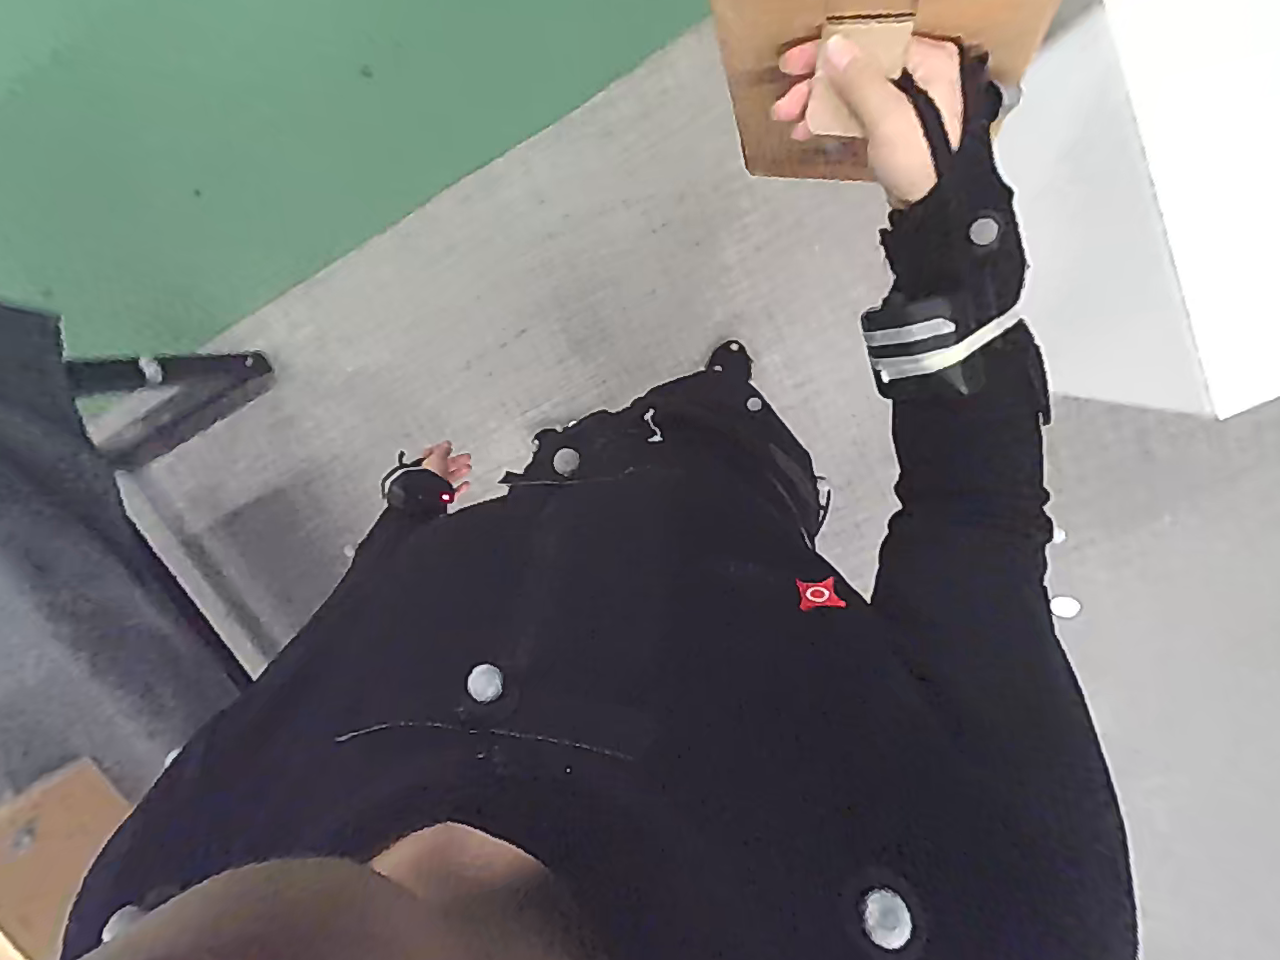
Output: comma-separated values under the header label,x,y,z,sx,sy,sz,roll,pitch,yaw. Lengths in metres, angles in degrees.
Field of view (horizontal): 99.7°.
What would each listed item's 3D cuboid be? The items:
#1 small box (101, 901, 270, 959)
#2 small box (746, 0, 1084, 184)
label,x,y,z,sx,sy,sz,roll,pitch,yaw
small box,-0.687,0.744,0.765,0.168,0.176,0.179,-32,101,12
small box,0.168,-0.317,0.329,0.168,0.176,0.179,15,92,19
